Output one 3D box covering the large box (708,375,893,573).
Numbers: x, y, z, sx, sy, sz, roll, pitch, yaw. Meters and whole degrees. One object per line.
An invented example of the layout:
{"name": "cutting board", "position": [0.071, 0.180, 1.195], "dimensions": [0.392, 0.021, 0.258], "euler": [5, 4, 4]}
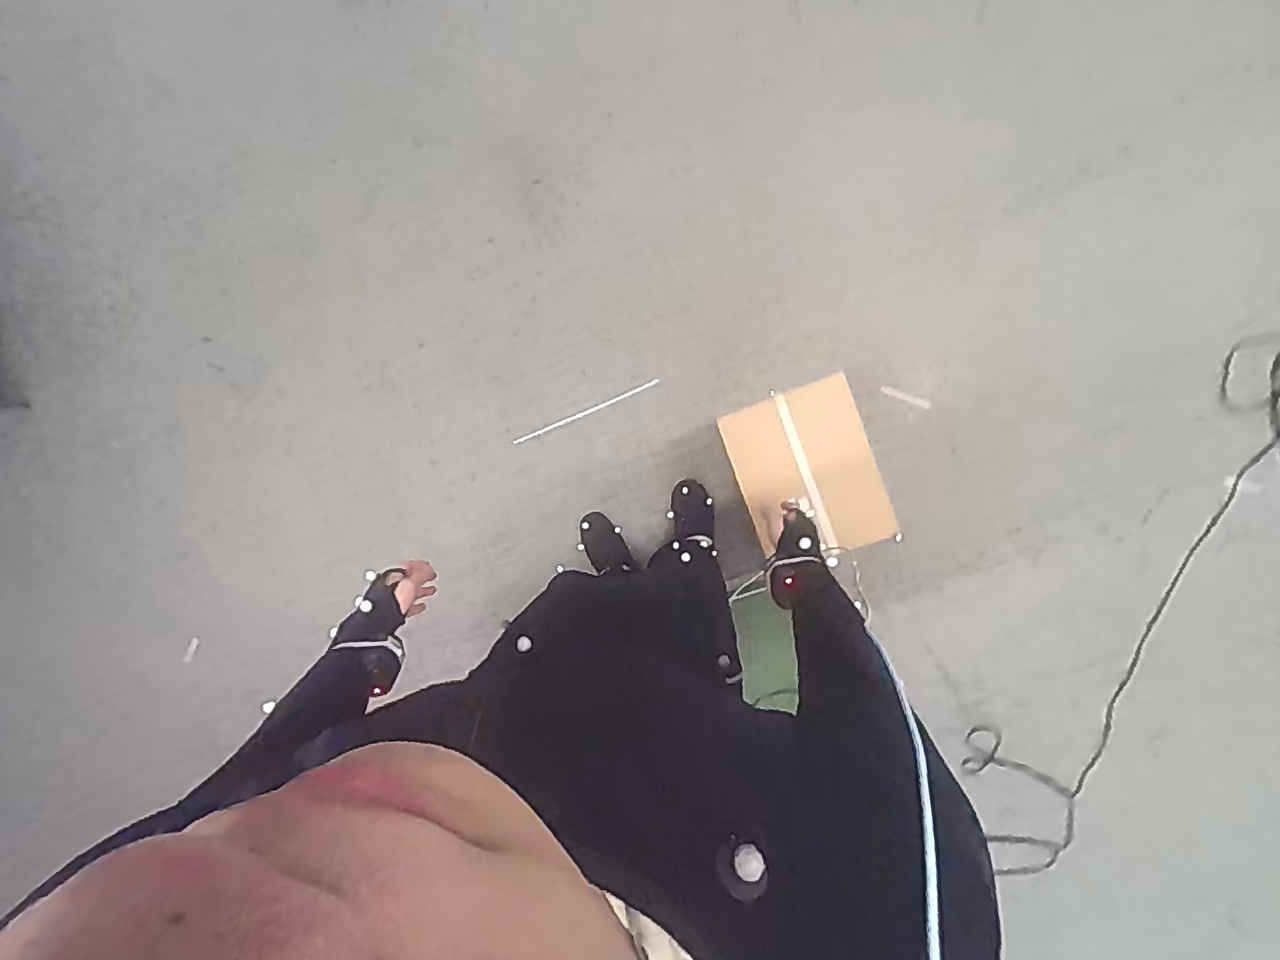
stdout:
{"name": "large box", "position": [0.395, -0.021, 1.421], "dimensions": [0.320, 0.320, 0.408], "euler": [-20, 92, 7]}
